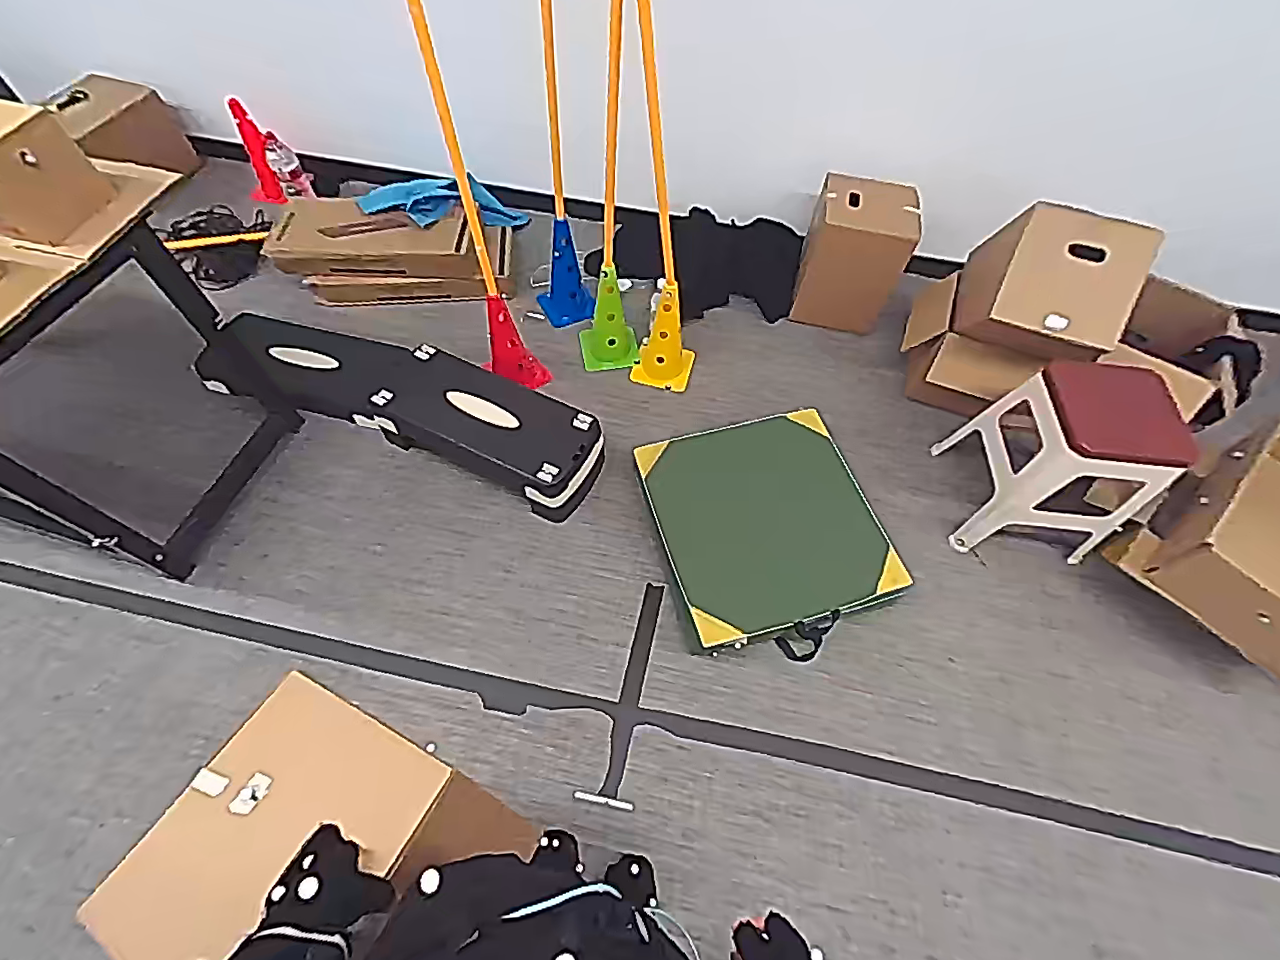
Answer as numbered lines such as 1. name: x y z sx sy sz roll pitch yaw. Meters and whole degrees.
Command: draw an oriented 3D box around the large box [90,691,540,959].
1. large box: -0.400 0.565 0.775 0.320 0.408 0.320 17 54 23
